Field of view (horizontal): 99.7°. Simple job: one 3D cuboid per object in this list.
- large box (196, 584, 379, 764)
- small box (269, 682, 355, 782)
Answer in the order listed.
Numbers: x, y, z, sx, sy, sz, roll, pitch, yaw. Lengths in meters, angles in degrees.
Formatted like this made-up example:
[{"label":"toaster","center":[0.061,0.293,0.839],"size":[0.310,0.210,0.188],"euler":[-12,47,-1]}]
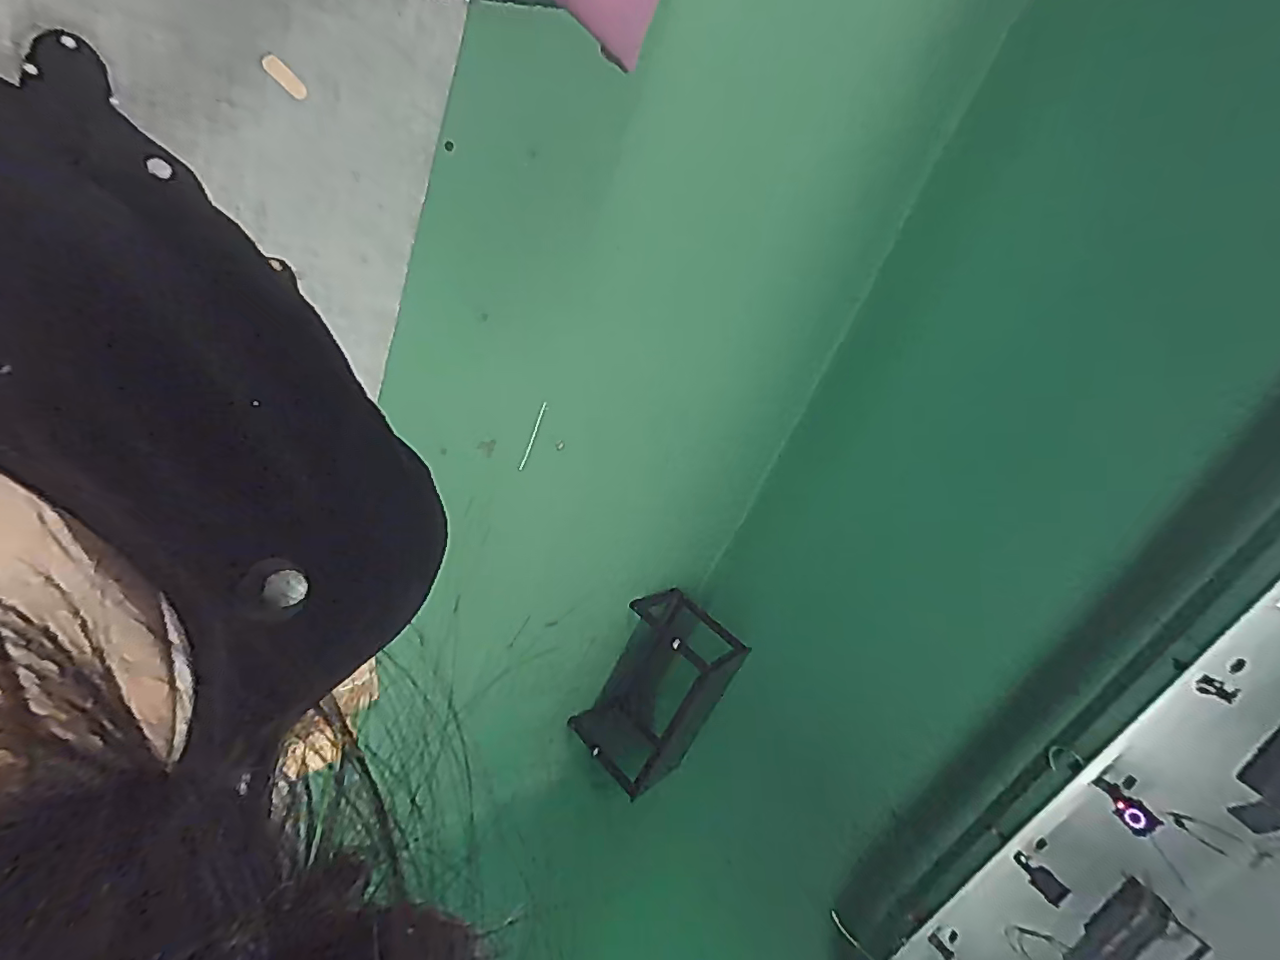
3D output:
[{"label":"large box","center":[-1.128,0.610,1.760],"size":[0.408,0.320,0.320],"euler":[-22,138,-43]},{"label":"small box","center":[-0.977,0.744,1.616],"size":[0.179,0.176,0.168],"euler":[-17,132,-45]}]
